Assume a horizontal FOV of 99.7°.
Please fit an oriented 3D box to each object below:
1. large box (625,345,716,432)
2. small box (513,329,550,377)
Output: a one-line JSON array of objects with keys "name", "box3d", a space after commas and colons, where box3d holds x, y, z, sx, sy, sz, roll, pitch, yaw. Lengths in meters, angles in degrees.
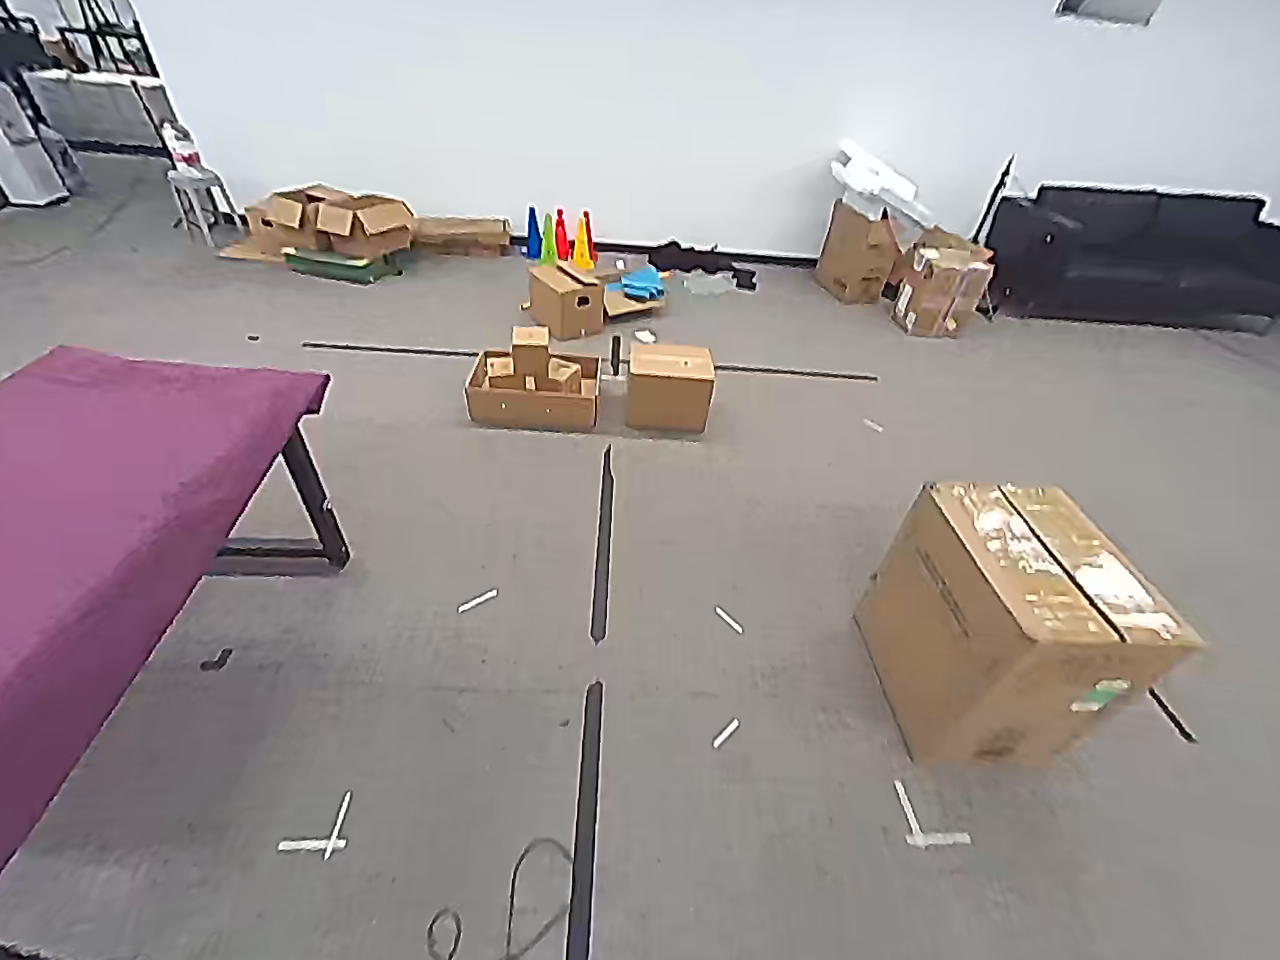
[{"name": "large box", "box3d": [0.139, -0.458, 2.710, 0.408, 0.320, 0.320, 4, 41, -4]}, {"name": "small box", "box3d": [-0.515, -0.604, 2.573, 0.168, 0.176, 0.179, -1, 39, -10]}]
